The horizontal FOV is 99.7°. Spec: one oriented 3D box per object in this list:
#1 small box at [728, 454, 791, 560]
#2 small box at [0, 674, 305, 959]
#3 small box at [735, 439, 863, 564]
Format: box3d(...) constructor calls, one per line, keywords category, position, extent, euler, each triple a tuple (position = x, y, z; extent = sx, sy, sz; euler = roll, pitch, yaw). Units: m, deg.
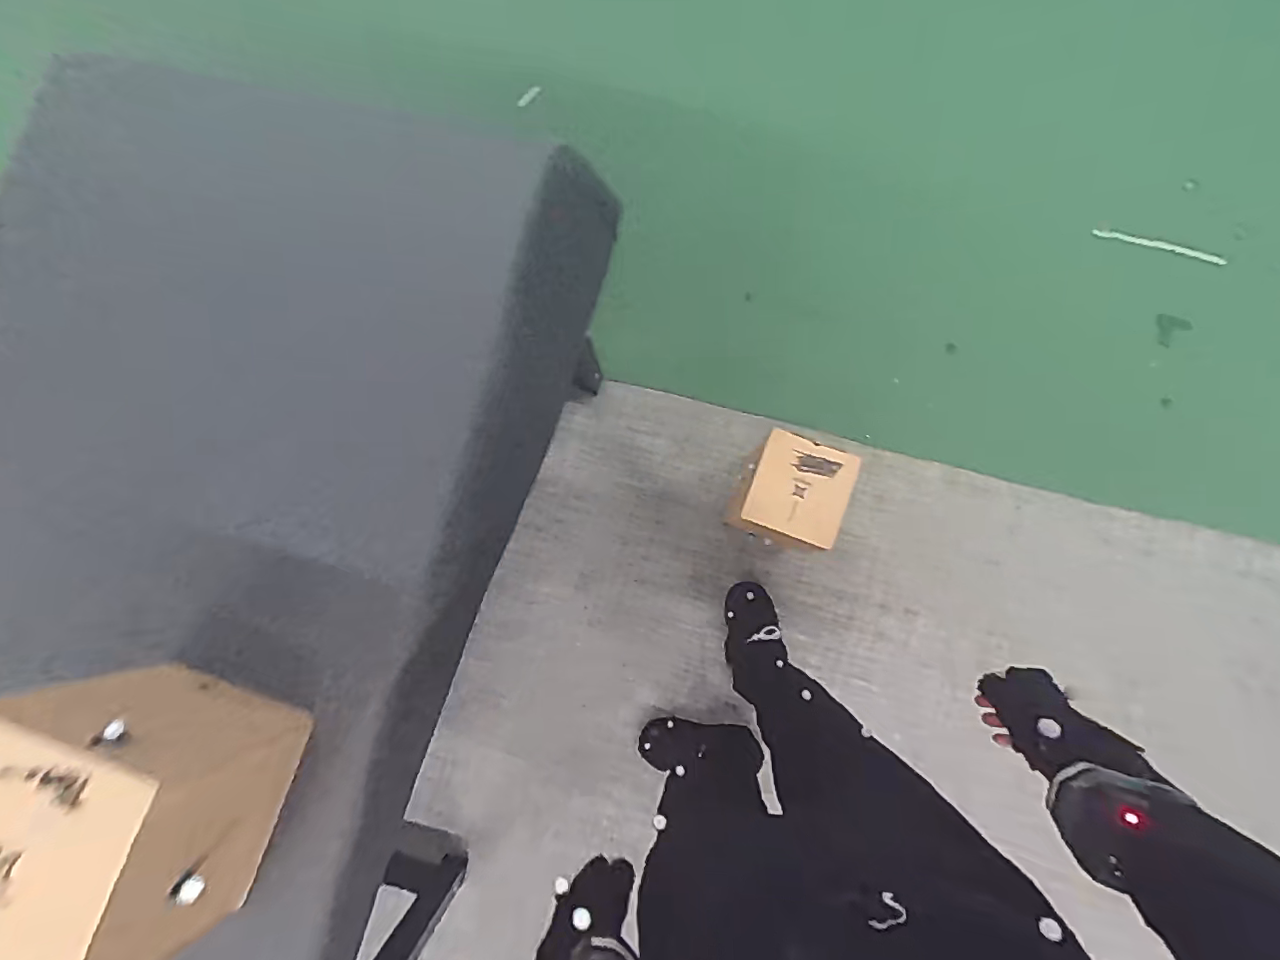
box3d(category="small box", position=(0.300, 0.065, 1.181), extent=(0.168, 0.176, 0.179), euler=(22, 84, 7))
box3d(category="small box", position=(-0.417, 0.279, 0.435), extent=(0.168, 0.176, 0.179), euler=(17, 82, 6))
box3d(category="small box", position=(0.287, 0.048, 1.017), extent=(0.168, 0.176, 0.179), euler=(21, 83, 7))
